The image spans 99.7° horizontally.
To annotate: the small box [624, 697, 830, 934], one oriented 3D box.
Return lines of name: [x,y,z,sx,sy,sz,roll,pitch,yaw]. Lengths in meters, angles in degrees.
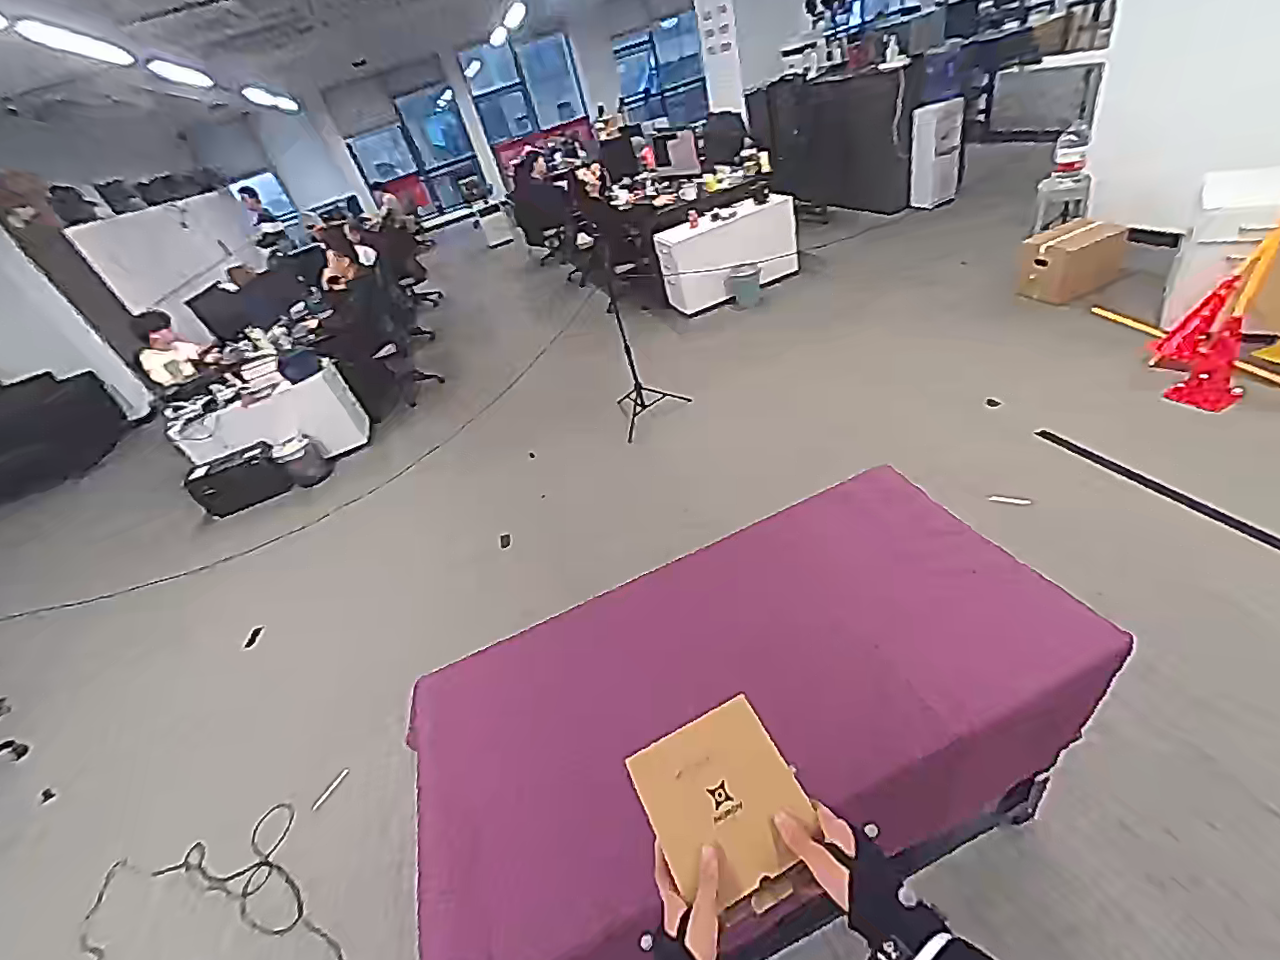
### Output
small box: [0.100,0.402,0.649,0.168,0.176,0.179,-24,48,-11]
